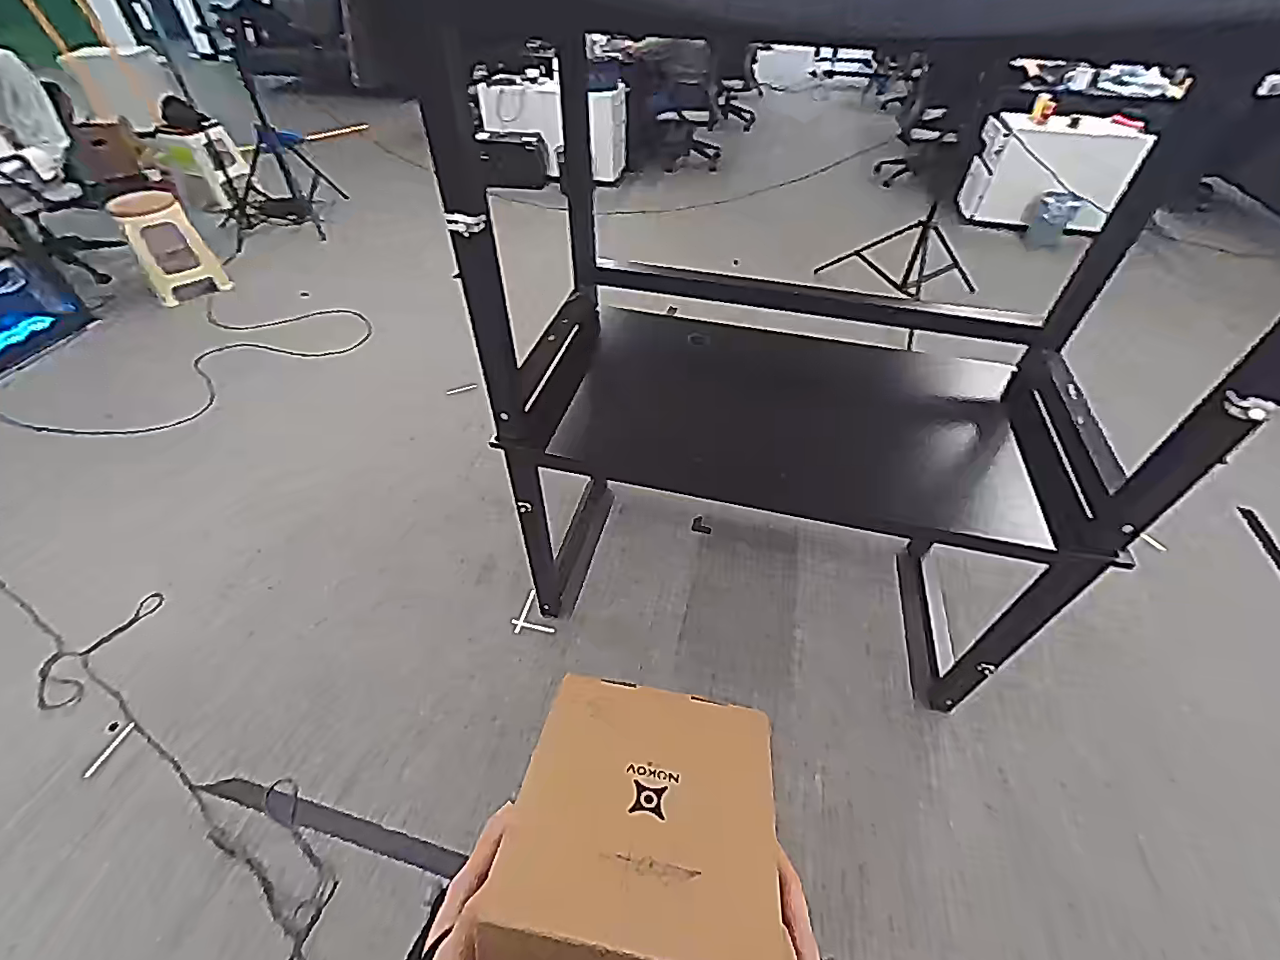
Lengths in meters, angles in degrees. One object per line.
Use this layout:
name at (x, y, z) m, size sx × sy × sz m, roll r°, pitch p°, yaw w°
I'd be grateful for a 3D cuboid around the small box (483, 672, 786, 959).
small box at (-0.001, 0.276, 0.387) m, size 0.168 × 0.176 × 0.179 m, roll 9°, pitch 27°, yaw 5°
